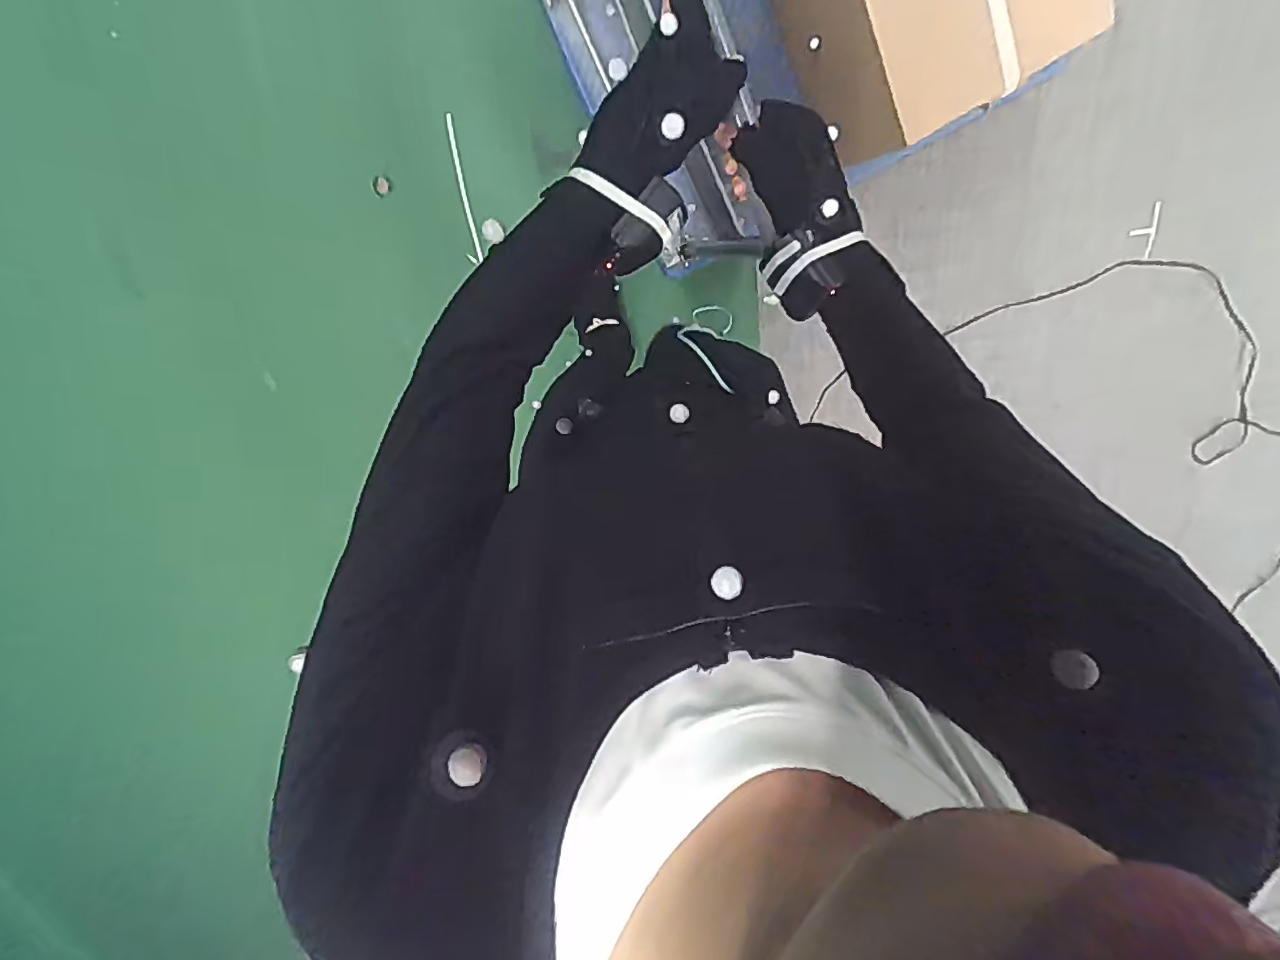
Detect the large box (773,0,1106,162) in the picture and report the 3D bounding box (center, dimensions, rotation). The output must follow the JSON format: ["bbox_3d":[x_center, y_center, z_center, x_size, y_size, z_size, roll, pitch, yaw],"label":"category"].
[{"bbox_3d":[0.426,-0.801,0.855,0.320,0.320,0.408,-28,112,8],"label":"large box"}]
